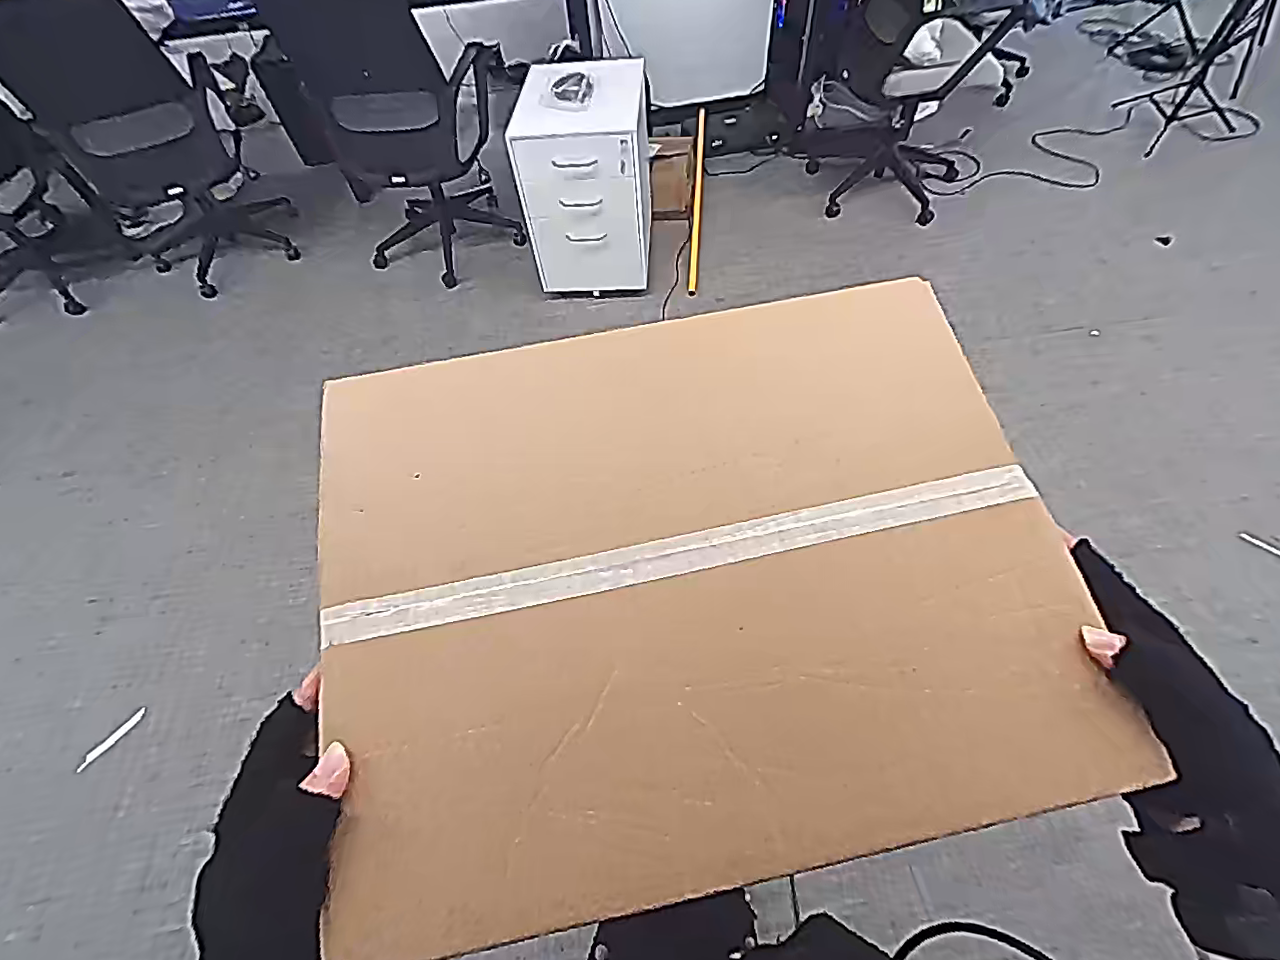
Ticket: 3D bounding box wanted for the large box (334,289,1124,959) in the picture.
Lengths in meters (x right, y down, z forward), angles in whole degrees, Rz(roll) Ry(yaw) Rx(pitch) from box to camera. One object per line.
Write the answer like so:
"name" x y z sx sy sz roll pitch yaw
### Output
"large box" 0.029 0.097 0.454 0.408 0.320 0.320 -12 69 -3
